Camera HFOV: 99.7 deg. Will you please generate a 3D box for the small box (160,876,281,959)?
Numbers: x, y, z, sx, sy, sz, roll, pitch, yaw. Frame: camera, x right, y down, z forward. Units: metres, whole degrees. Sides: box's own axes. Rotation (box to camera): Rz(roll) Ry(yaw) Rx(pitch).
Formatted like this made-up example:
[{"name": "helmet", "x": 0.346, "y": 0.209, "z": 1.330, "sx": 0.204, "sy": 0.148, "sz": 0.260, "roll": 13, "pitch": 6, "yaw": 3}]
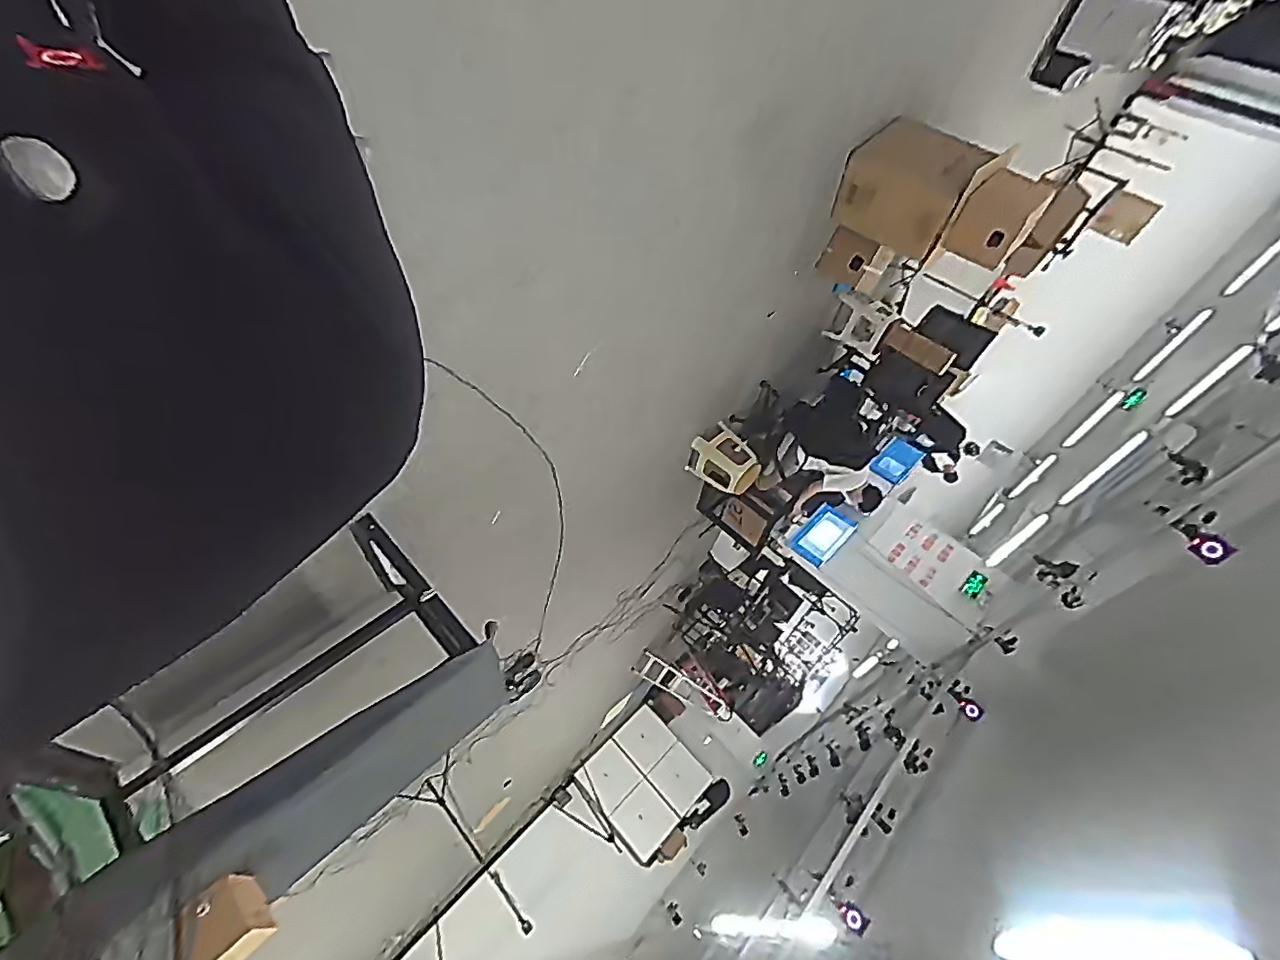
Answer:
[{"name": "small box", "x": -1.091, "y": 1.179, "z": 1.413, "sx": 0.168, "sy": 0.176, "sz": 0.179, "roll": -38, "pitch": 154, "yaw": -31}]
